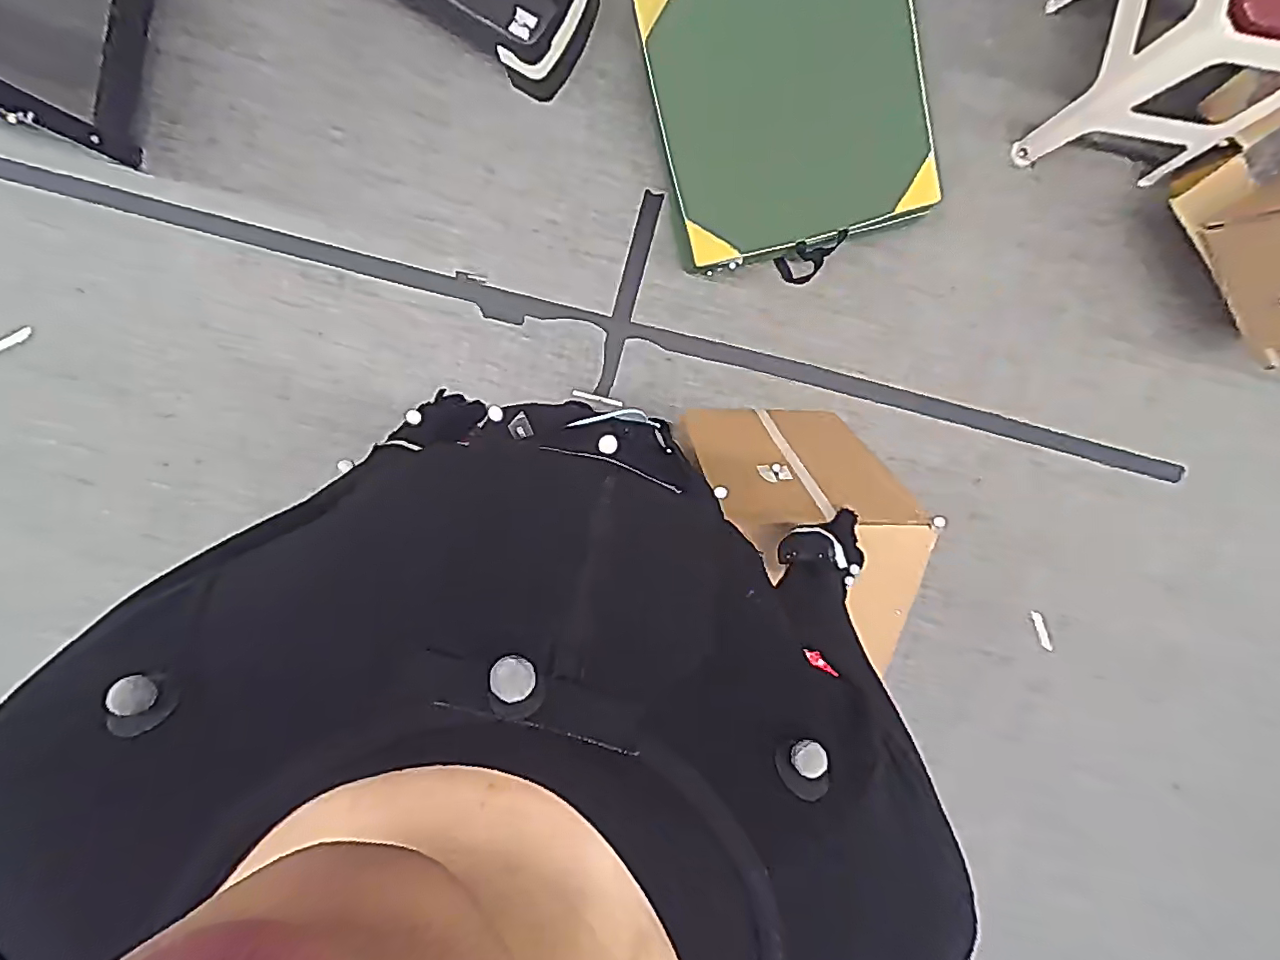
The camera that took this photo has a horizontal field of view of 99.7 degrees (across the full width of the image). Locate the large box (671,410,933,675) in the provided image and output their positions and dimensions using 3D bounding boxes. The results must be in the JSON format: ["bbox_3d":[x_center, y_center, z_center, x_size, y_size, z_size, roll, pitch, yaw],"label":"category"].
[{"bbox_3d":[0.243,0.094,0.997,0.320,0.408,0.320,0,122,-4],"label":"large box"}]
